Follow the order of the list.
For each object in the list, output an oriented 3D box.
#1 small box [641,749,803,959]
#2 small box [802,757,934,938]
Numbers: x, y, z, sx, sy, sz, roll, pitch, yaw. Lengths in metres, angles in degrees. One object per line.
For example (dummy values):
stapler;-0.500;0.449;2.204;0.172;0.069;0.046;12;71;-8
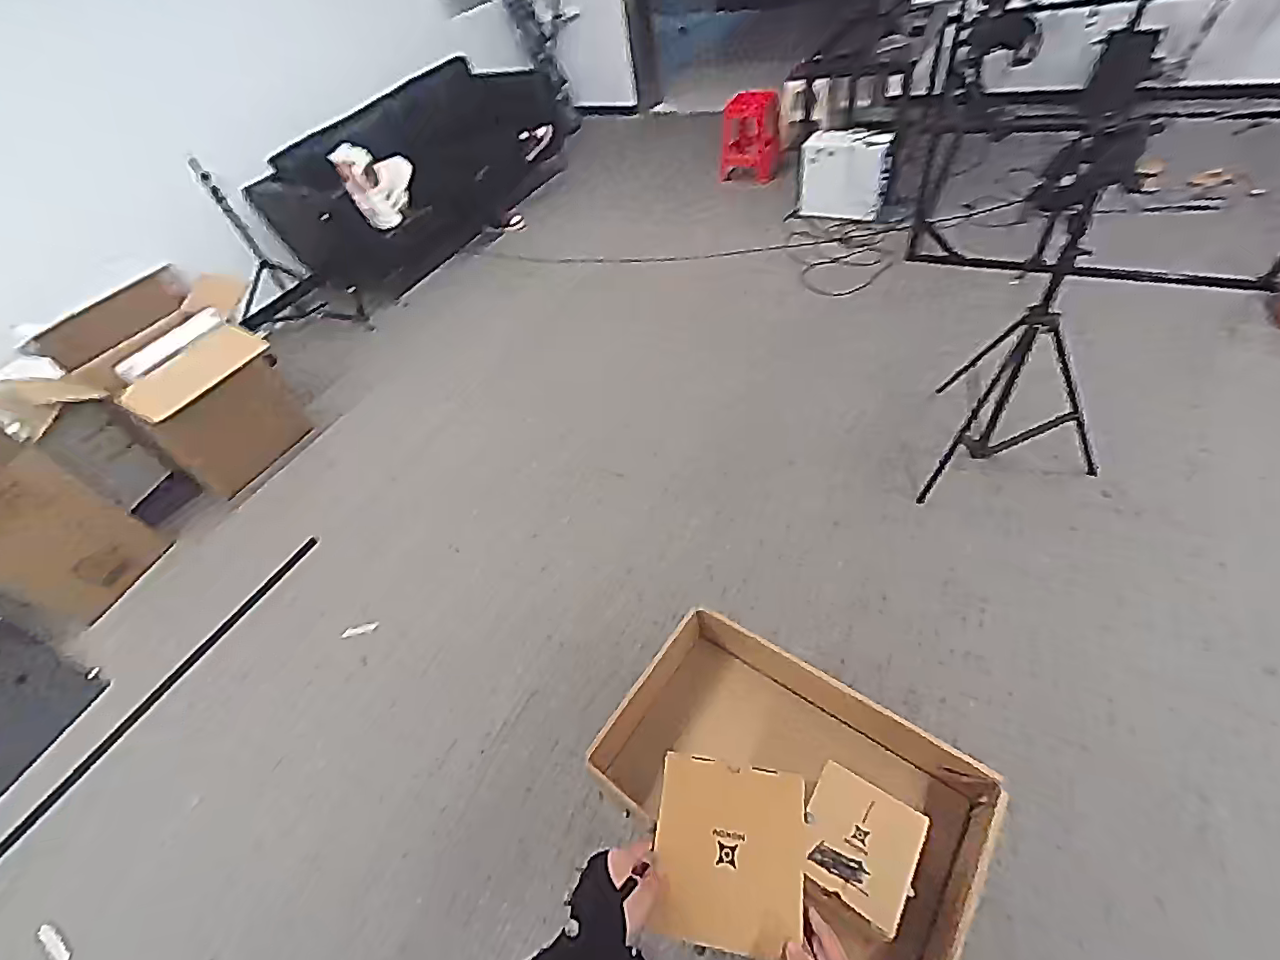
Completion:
small box;0.104;0.448;0.654;0.168;0.176;0.179;4;54;11
small box;0.351;0.600;0.881;0.168;0.176;0.179;23;56;29
